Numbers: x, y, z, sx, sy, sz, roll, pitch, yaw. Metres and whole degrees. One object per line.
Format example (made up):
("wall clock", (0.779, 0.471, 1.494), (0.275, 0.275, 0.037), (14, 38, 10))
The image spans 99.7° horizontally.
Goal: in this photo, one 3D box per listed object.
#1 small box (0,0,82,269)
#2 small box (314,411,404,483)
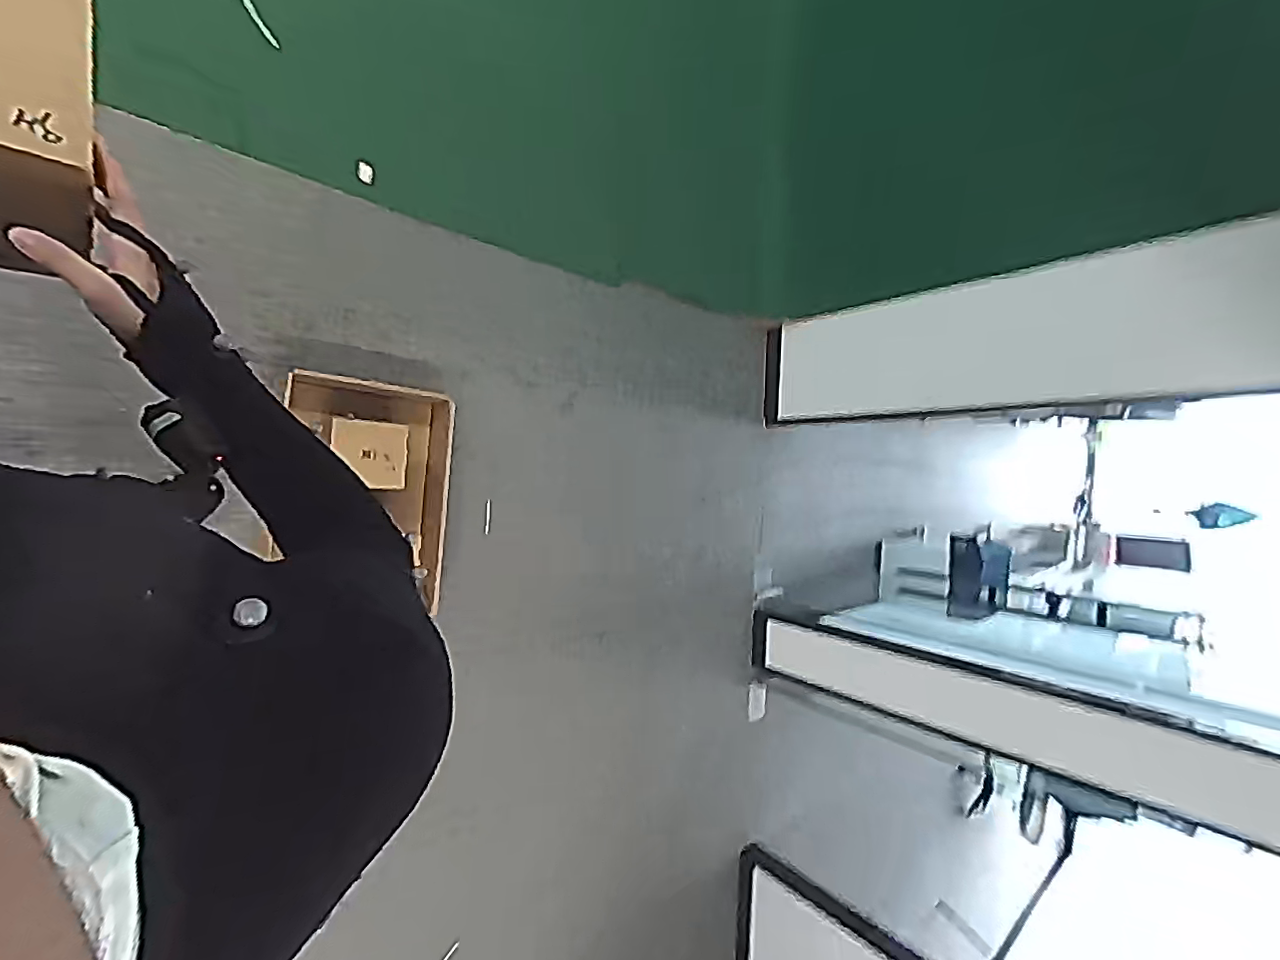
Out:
("small box", (-0.557, -0.302, 0.422), (0.168, 0.176, 0.179), (-1, 76, -46))
("small box", (-0.732, -0.083, 1.402), (0.179, 0.176, 0.168), (3, 92, -40))
